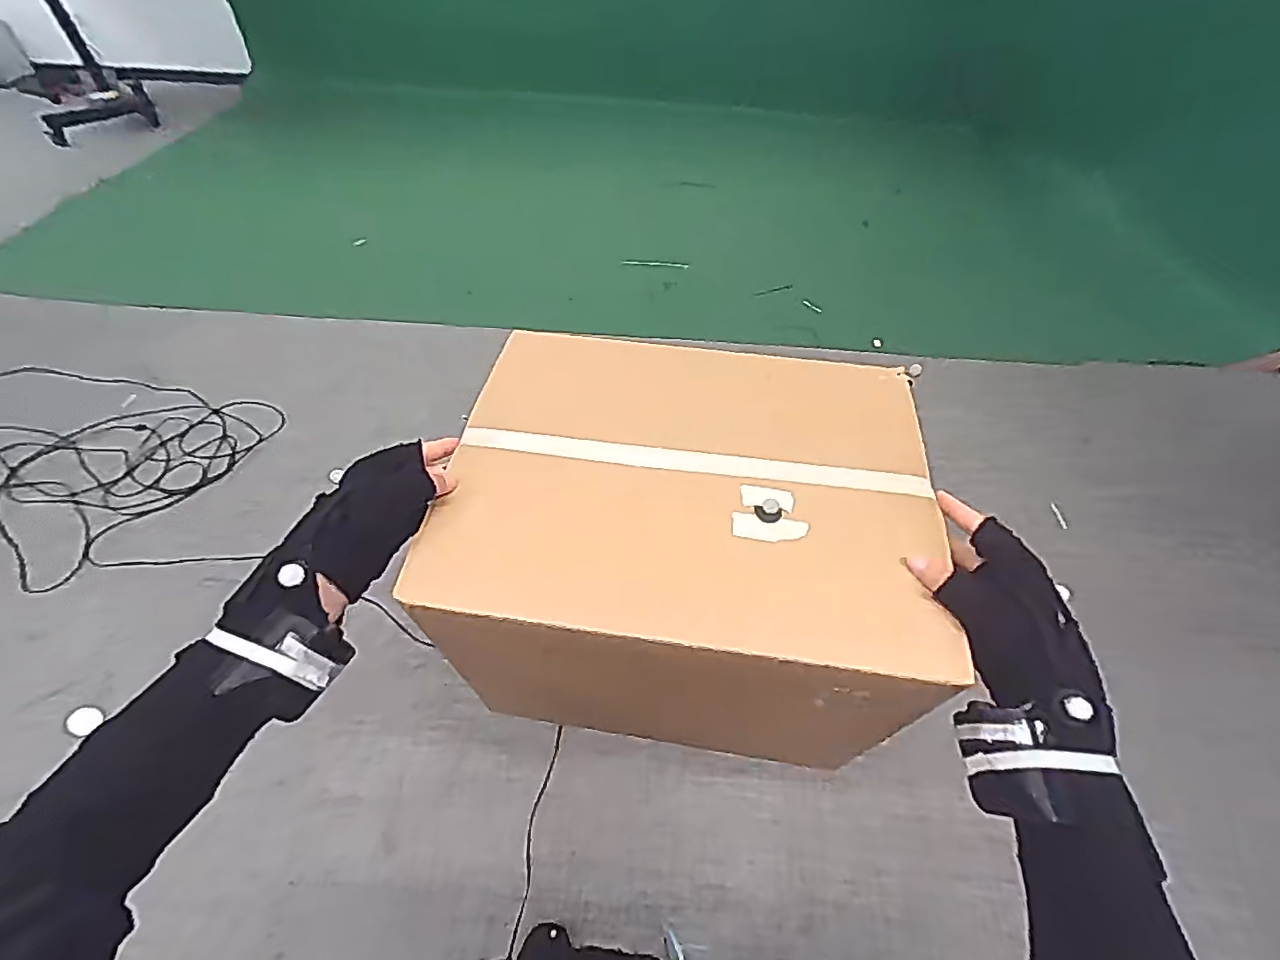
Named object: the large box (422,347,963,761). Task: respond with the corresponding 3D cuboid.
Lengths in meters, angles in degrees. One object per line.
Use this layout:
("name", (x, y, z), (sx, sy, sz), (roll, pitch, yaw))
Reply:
("large box", (0.046, 0.087, 0.596), (0.408, 0.320, 0.320), (7, 53, 4))
